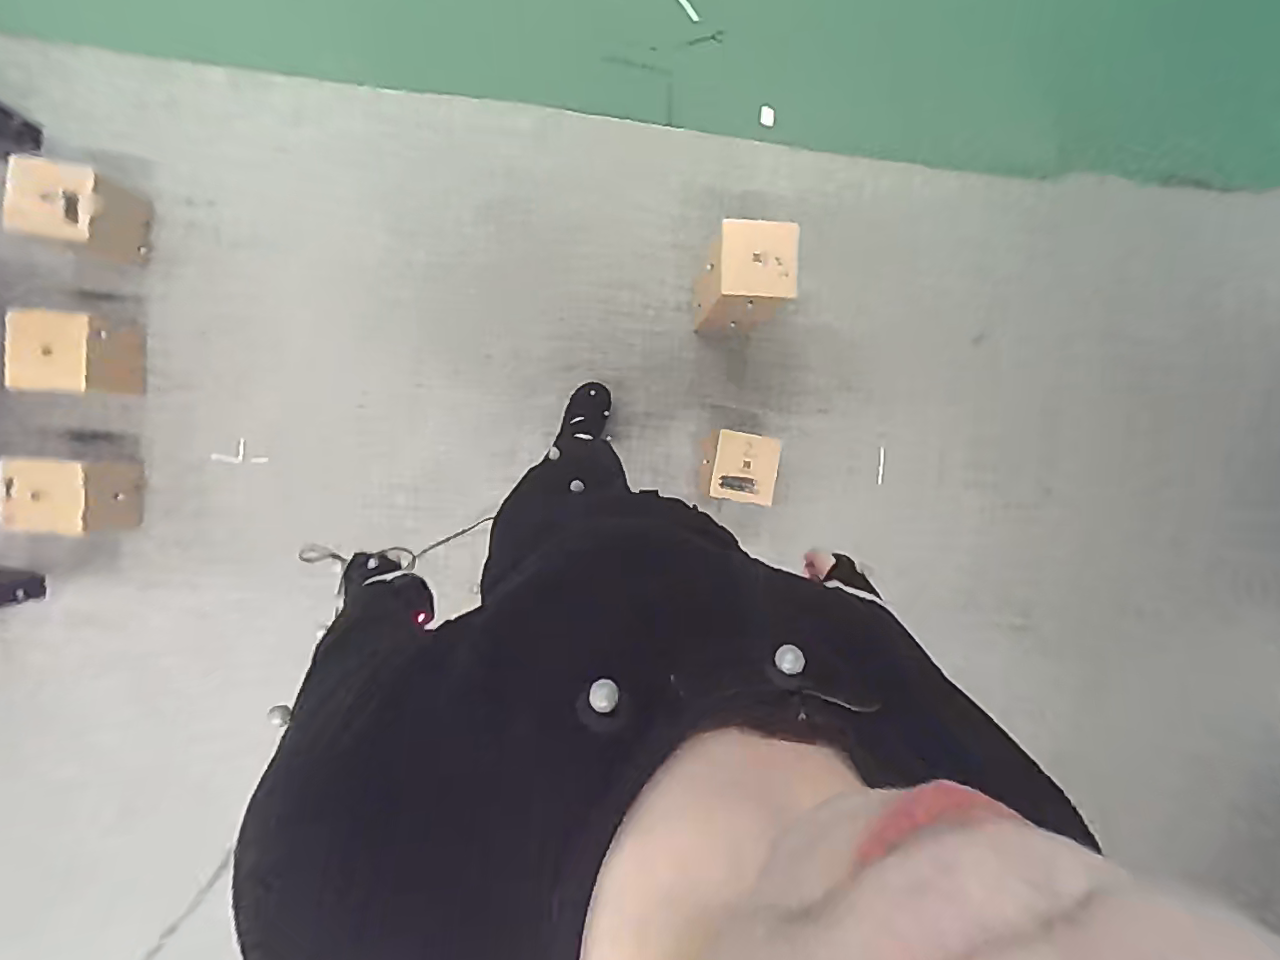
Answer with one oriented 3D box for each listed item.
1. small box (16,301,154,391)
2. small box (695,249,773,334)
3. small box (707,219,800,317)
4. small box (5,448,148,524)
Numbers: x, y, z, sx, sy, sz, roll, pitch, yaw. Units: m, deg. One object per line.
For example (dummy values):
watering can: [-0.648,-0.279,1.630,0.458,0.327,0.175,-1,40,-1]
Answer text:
small box: [-1.321,-0.313,1.298,0.168,0.176,0.179,3,91,-6]
small box: [0.246,-0.493,1.436,0.179,0.176,0.168,4,92,-6]
small box: [0.259,-0.490,1.271,0.179,0.176,0.168,2,92,-5]
small box: [-1.343,0.013,1.302,0.179,0.176,0.168,3,90,-6]
